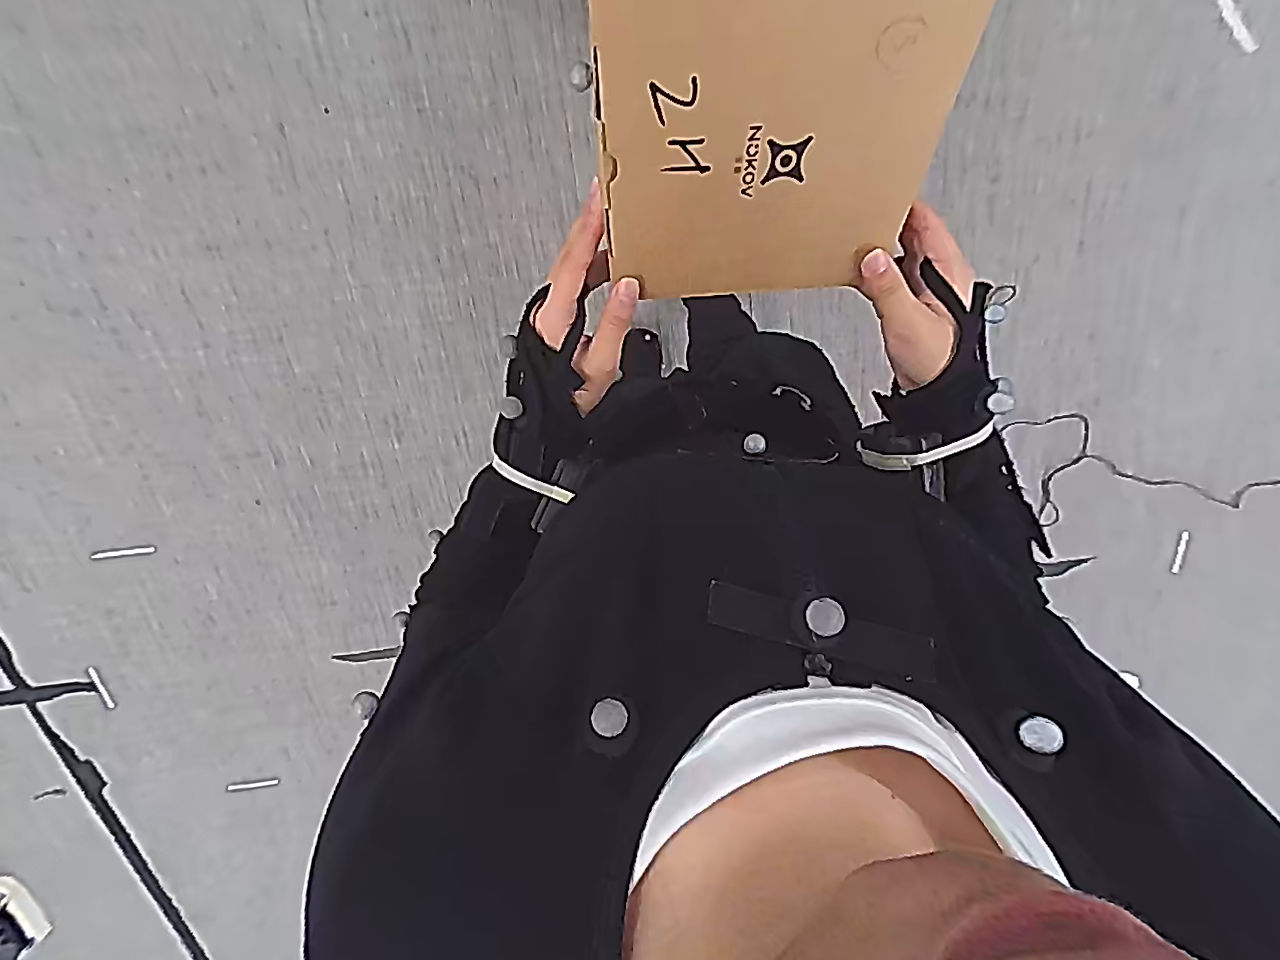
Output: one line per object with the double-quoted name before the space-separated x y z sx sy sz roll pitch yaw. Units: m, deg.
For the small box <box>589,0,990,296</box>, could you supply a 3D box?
"small box" 0.062 -0.238 0.329 0.179 0.176 0.168 -4 146 -1
